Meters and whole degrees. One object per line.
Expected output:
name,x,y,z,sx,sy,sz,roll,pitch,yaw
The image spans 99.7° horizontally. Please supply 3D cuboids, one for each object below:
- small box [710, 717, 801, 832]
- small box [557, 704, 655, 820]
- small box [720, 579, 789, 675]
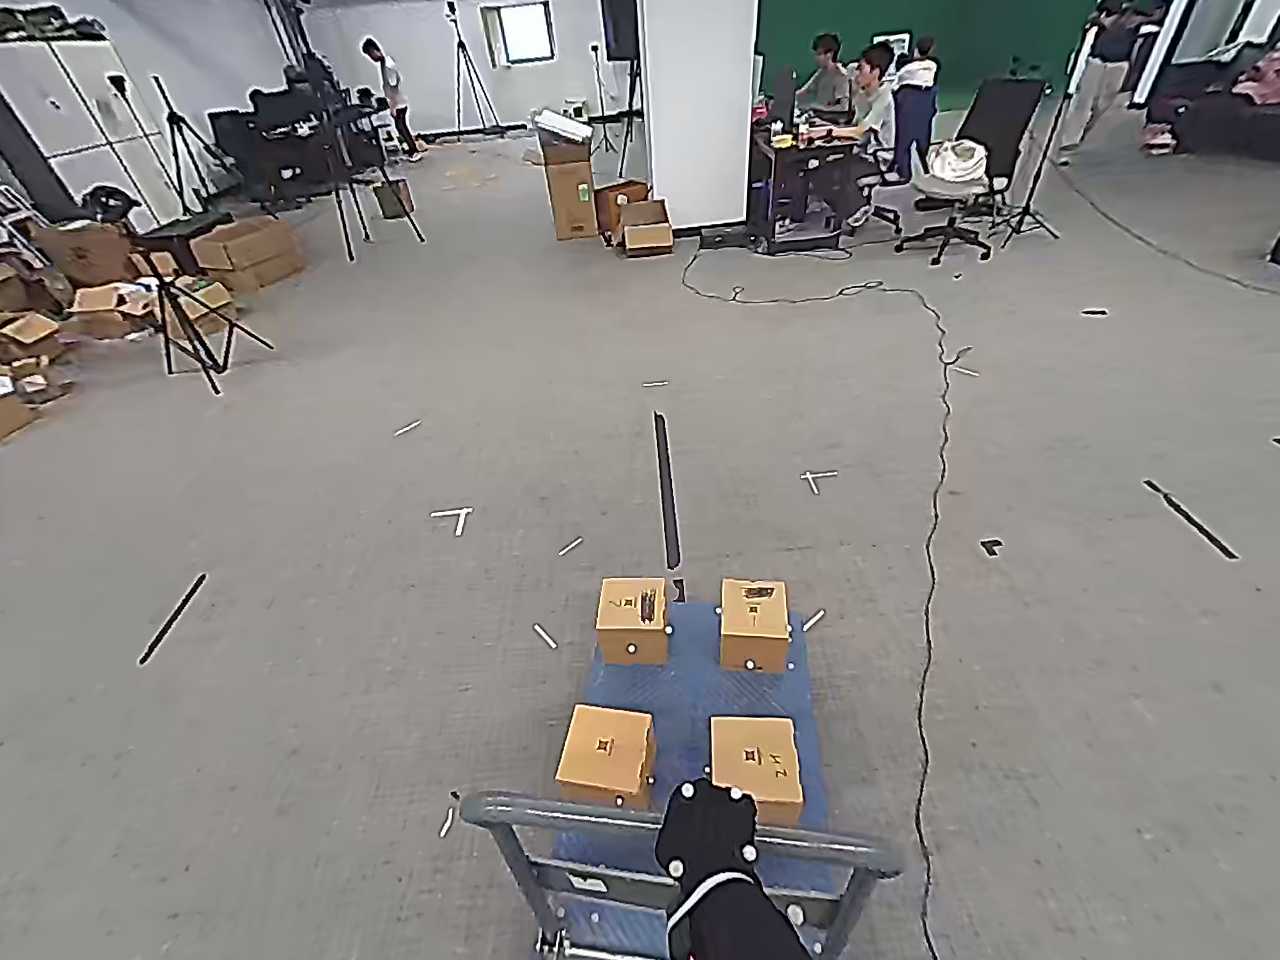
small box,0.239,0.628,1.153,0.179,0.176,0.168,-1,40,7
small box,-0.068,0.625,1.198,0.179,0.176,0.168,4,40,10
small box,0.300,0.388,1.434,0.168,0.176,0.179,2,41,9
